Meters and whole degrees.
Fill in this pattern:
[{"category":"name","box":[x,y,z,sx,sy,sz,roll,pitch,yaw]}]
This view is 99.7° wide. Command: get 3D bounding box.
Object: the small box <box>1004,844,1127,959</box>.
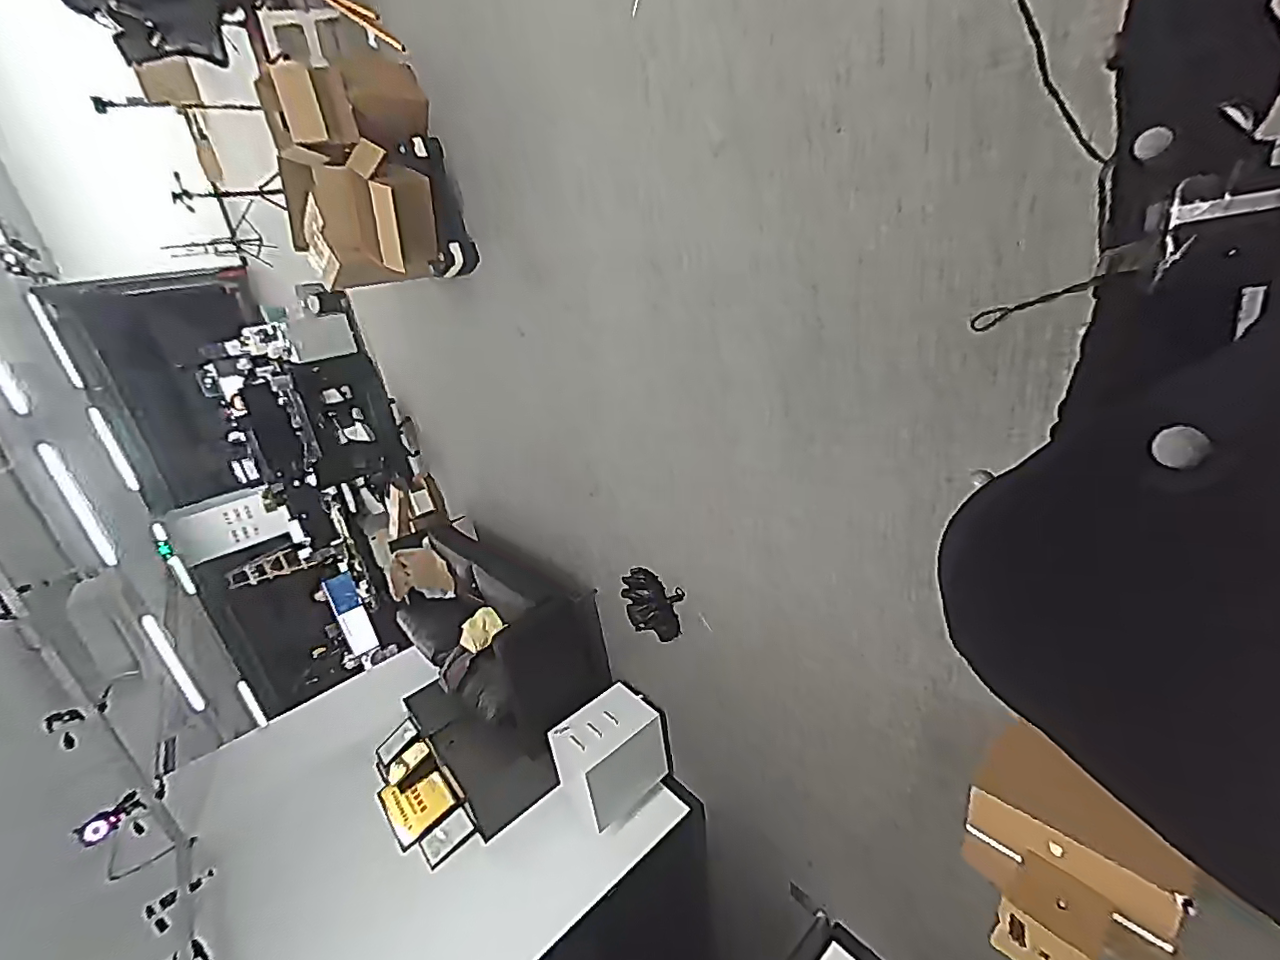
[{"category":"small box","box":[0.983,0.996,1.254,0.179,0.176,0.168,16,118,50]}]
